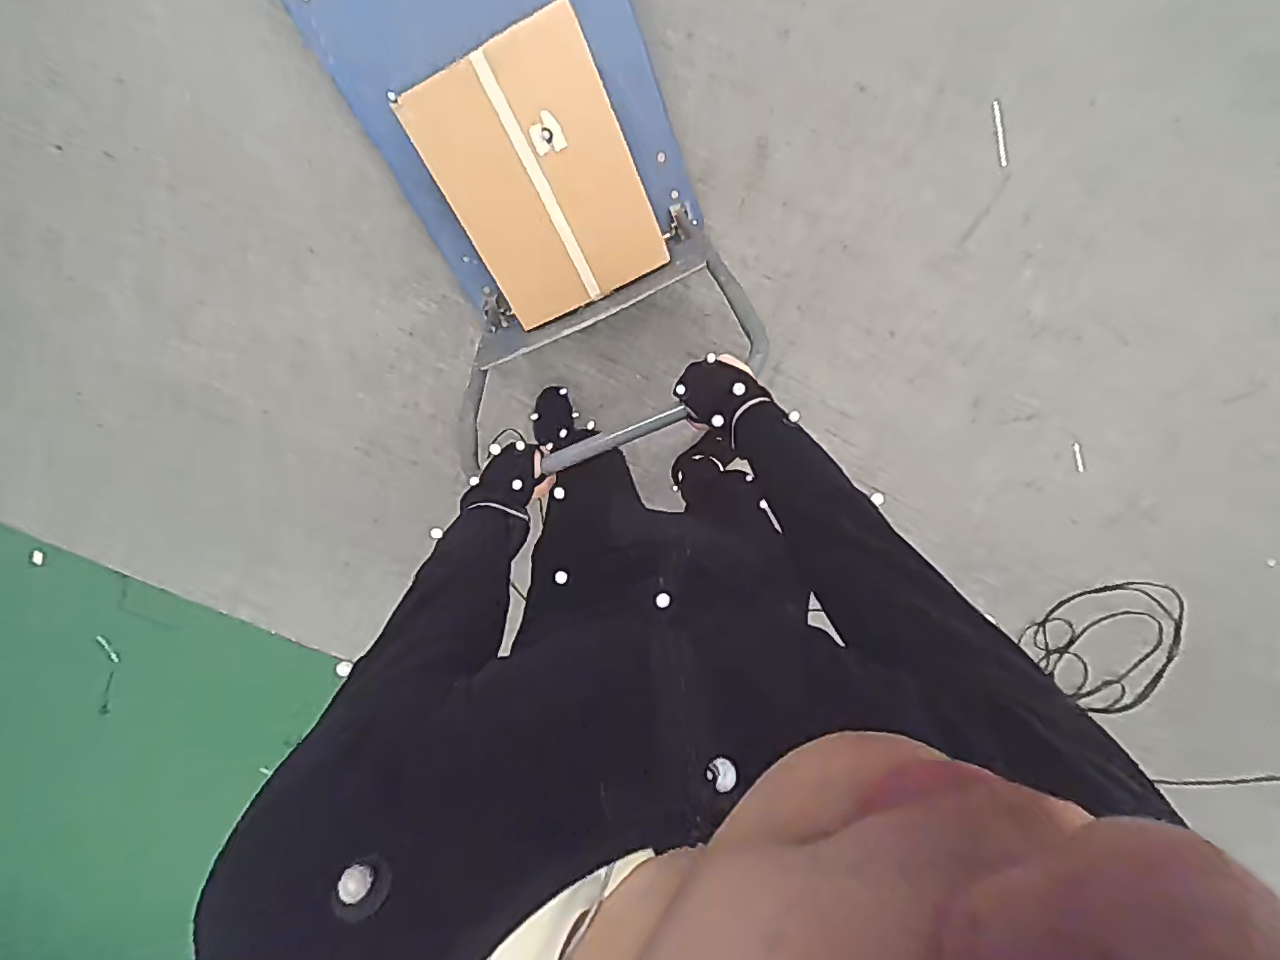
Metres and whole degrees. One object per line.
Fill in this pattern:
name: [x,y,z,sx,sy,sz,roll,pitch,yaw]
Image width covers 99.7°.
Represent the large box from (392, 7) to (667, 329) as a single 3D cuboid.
large box: [-0.178,-0.577,1.045,0.320,0.320,0.408,-24,123,10]
